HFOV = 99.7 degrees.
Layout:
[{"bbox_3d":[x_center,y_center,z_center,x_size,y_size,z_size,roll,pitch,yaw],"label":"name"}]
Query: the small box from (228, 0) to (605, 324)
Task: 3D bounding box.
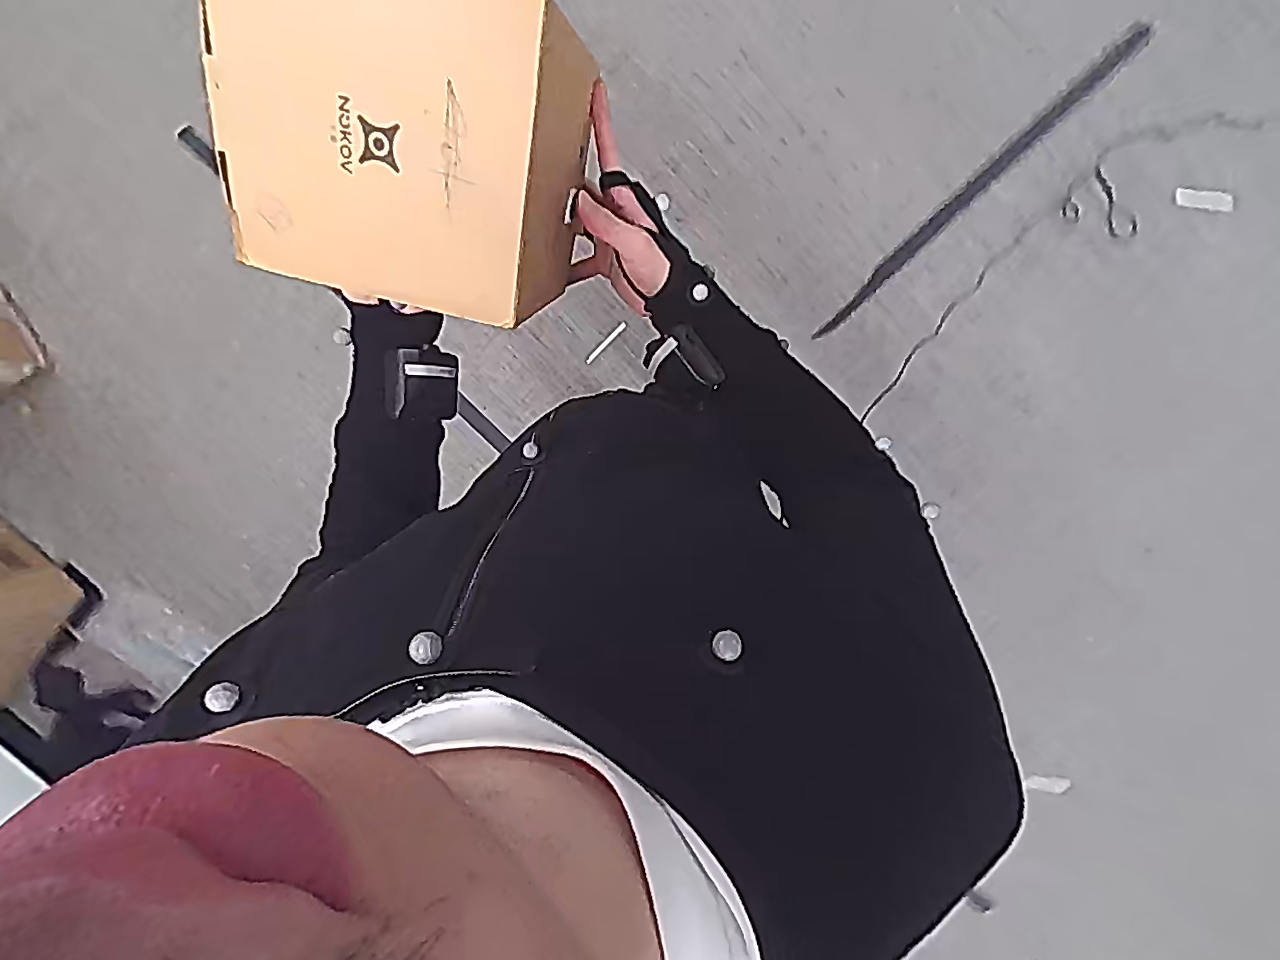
[{"bbox_3d":[-0.133,-0.224,0.373,0.179,0.176,0.168,13,119,-2],"label":"small box"}]
